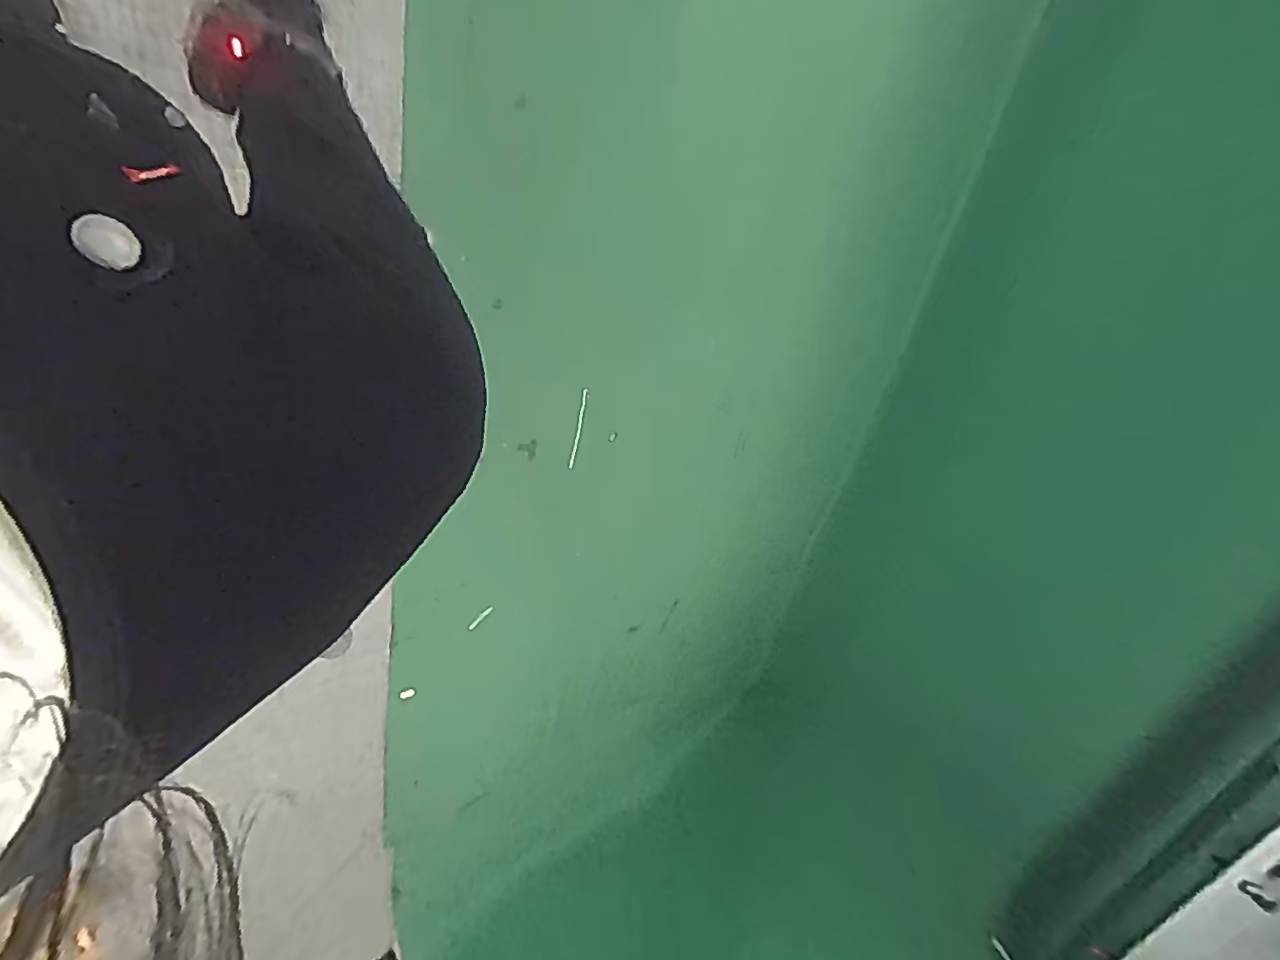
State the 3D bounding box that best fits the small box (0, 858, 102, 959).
[{"bbox_3d":[-1.580,1.177,1.447,0.179,0.176,0.168,-13,127,-42],"label":"small box"}]
